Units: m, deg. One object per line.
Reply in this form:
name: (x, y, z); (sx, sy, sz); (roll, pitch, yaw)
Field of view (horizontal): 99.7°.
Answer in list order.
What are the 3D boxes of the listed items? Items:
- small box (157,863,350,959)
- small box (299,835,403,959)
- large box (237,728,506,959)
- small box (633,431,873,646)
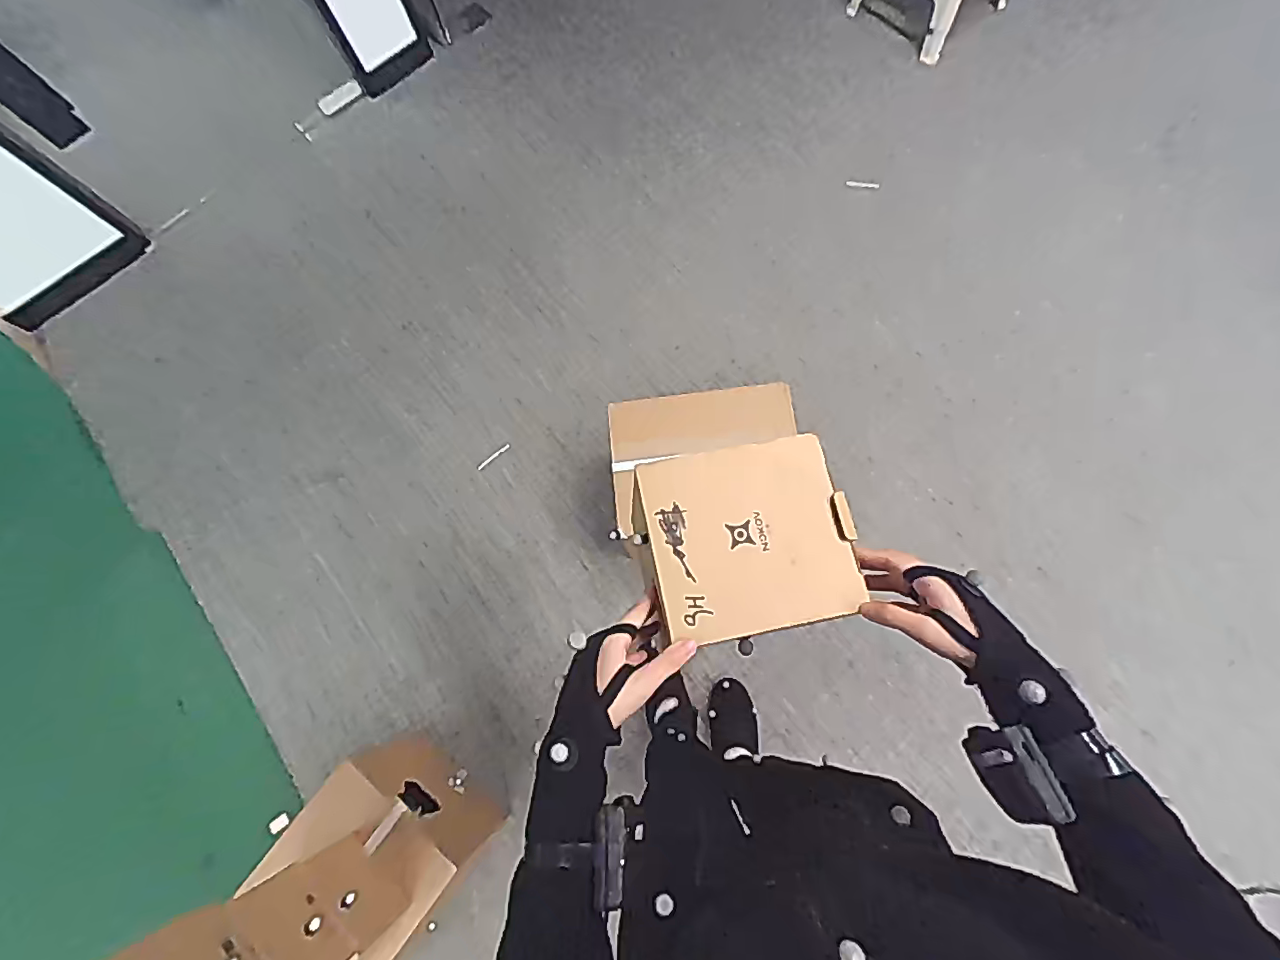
small box: (-0.550, 0.686, 0.743); (0.168, 0.176, 0.179); (42, 80, 14)
small box: (-0.535, 0.739, 0.896); (0.179, 0.176, 0.168); (40, 80, 14)
large box: (-0.557, 0.810, 1.133); (0.320, 0.320, 0.408); (35, 81, 14)
small box: (0.094, 0.067, 0.543); (0.179, 0.176, 0.168); (-9, 71, -6)
